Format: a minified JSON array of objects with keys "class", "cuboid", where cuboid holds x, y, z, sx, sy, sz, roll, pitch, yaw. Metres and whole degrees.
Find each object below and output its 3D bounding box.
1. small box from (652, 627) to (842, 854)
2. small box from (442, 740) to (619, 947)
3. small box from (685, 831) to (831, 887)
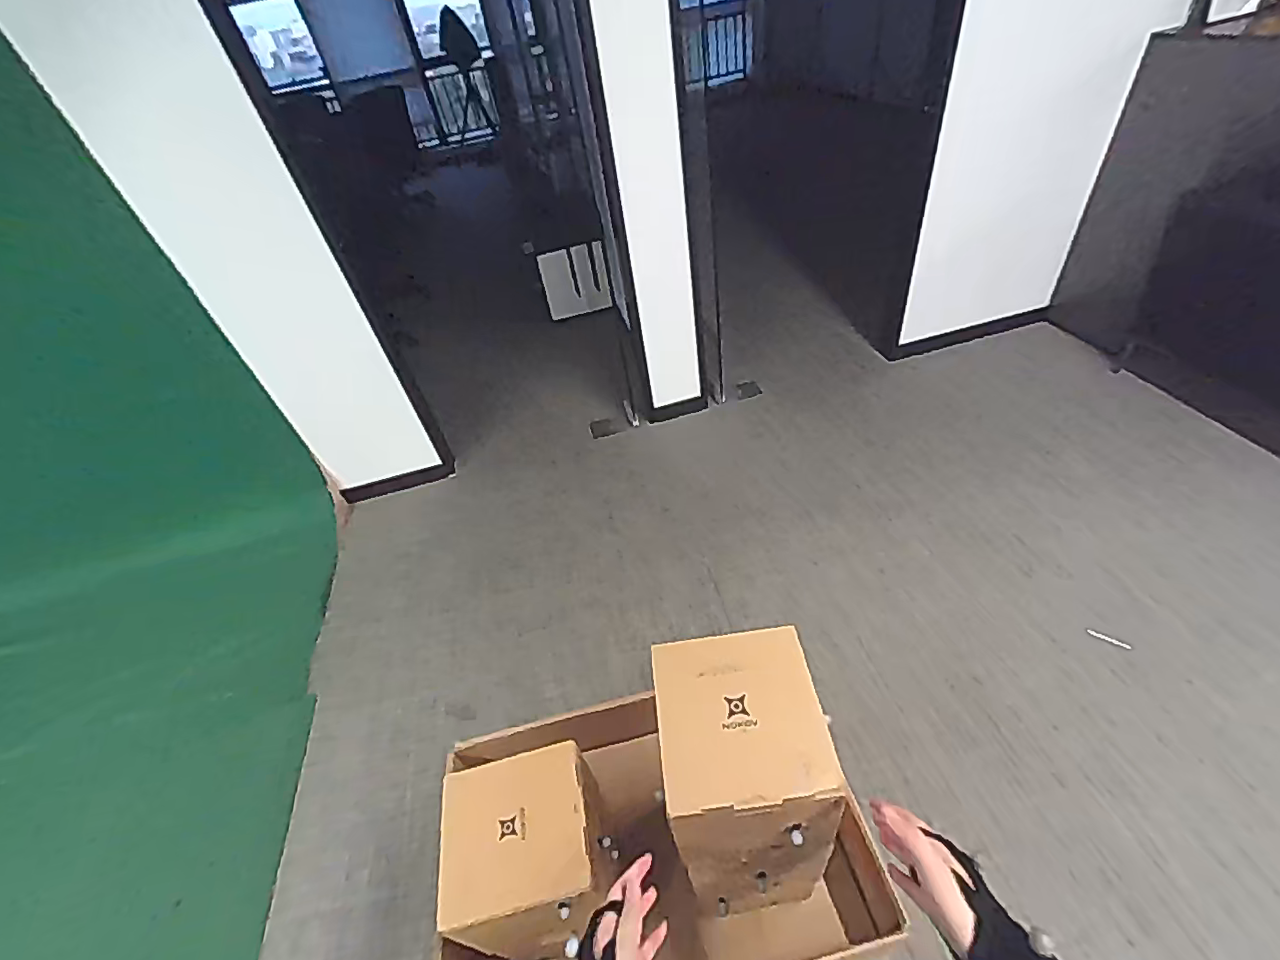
[{"class":"small box","cuboid":[0.111,0.292,0.600,0.168,0.176,0.179,-9,41,3]},{"class":"small box","cuboid":[-0.137,0.477,0.708,0.179,0.176,0.168,-14,42,-4]},{"class":"small box","cuboid":[0.138,0.412,0.710,0.168,0.176,0.179,-10,43,2]}]
